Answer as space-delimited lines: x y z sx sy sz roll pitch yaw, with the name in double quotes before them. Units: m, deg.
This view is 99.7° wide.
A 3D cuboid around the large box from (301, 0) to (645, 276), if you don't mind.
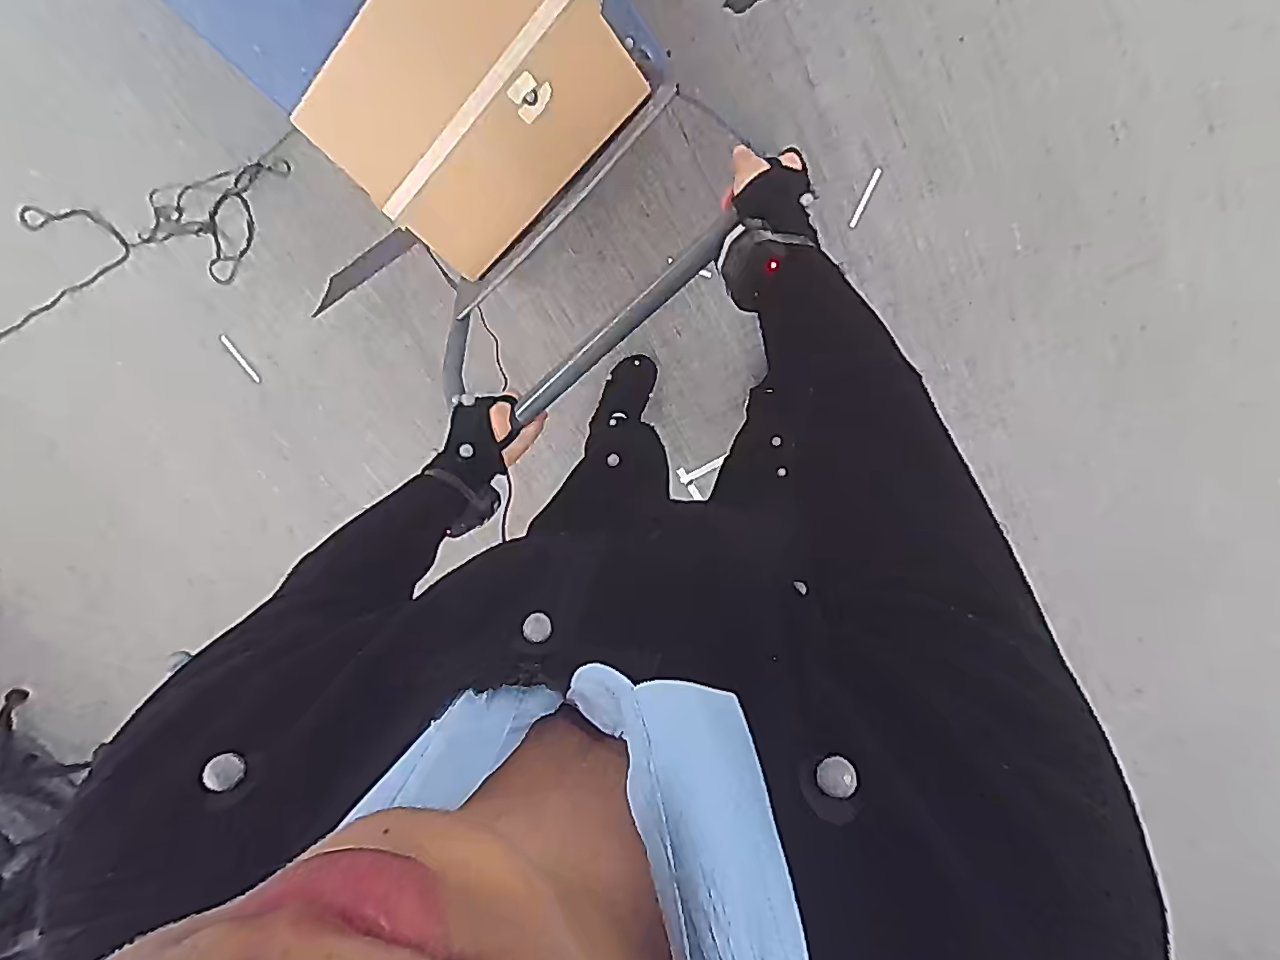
"large box" -0.254 -0.627 0.883 0.408 0.320 0.320 -39 125 19
